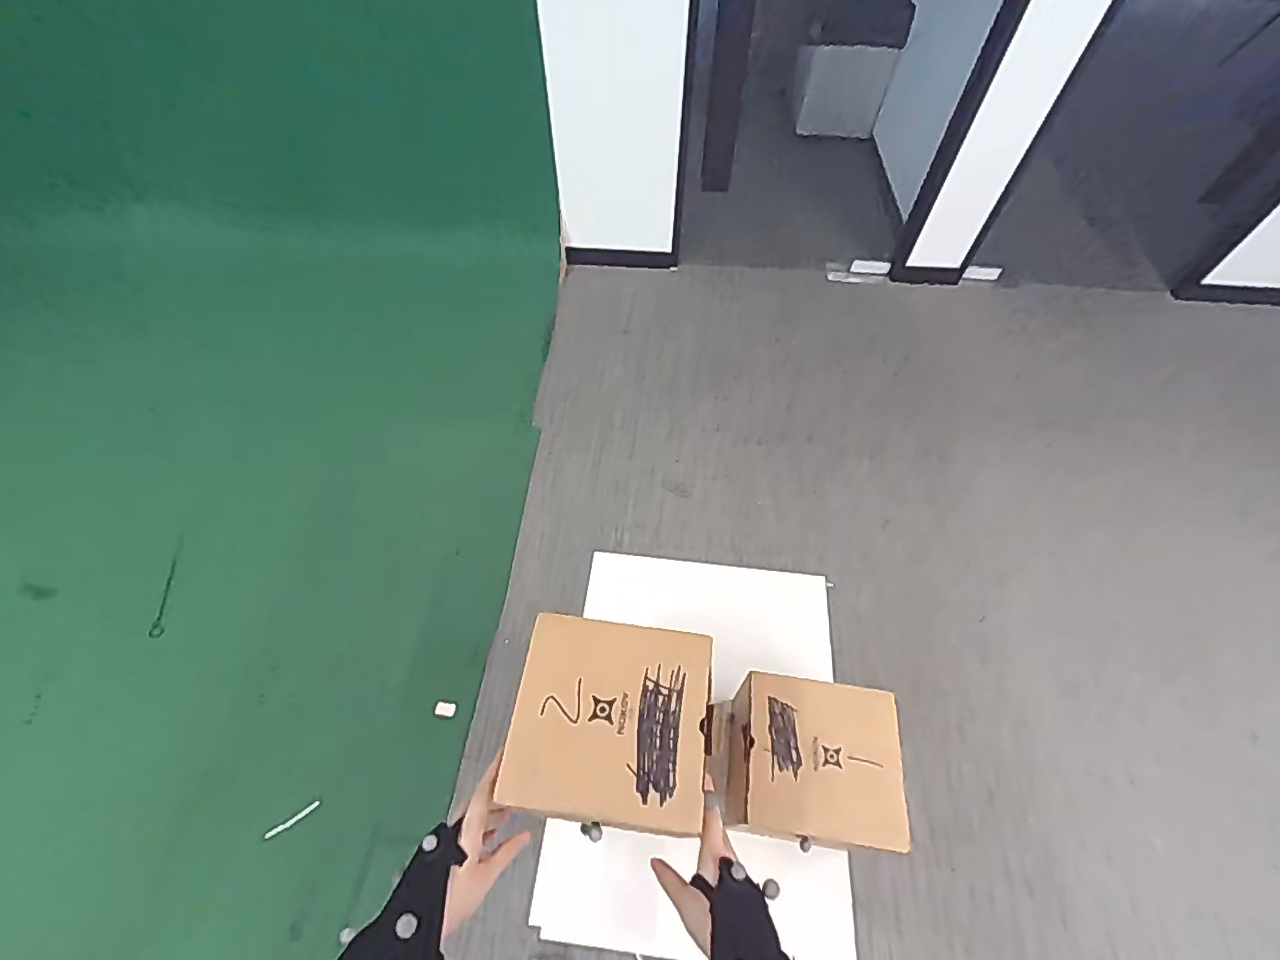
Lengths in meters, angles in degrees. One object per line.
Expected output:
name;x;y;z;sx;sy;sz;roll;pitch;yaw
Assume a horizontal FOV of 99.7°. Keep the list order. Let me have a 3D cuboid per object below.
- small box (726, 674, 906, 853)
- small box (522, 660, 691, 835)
small box;0.209;0.364;0.688;0.179;0.176;0.168;8;56;4
small box;-0.035;0.347;0.693;0.179;0.176;0.168;7;56;2
